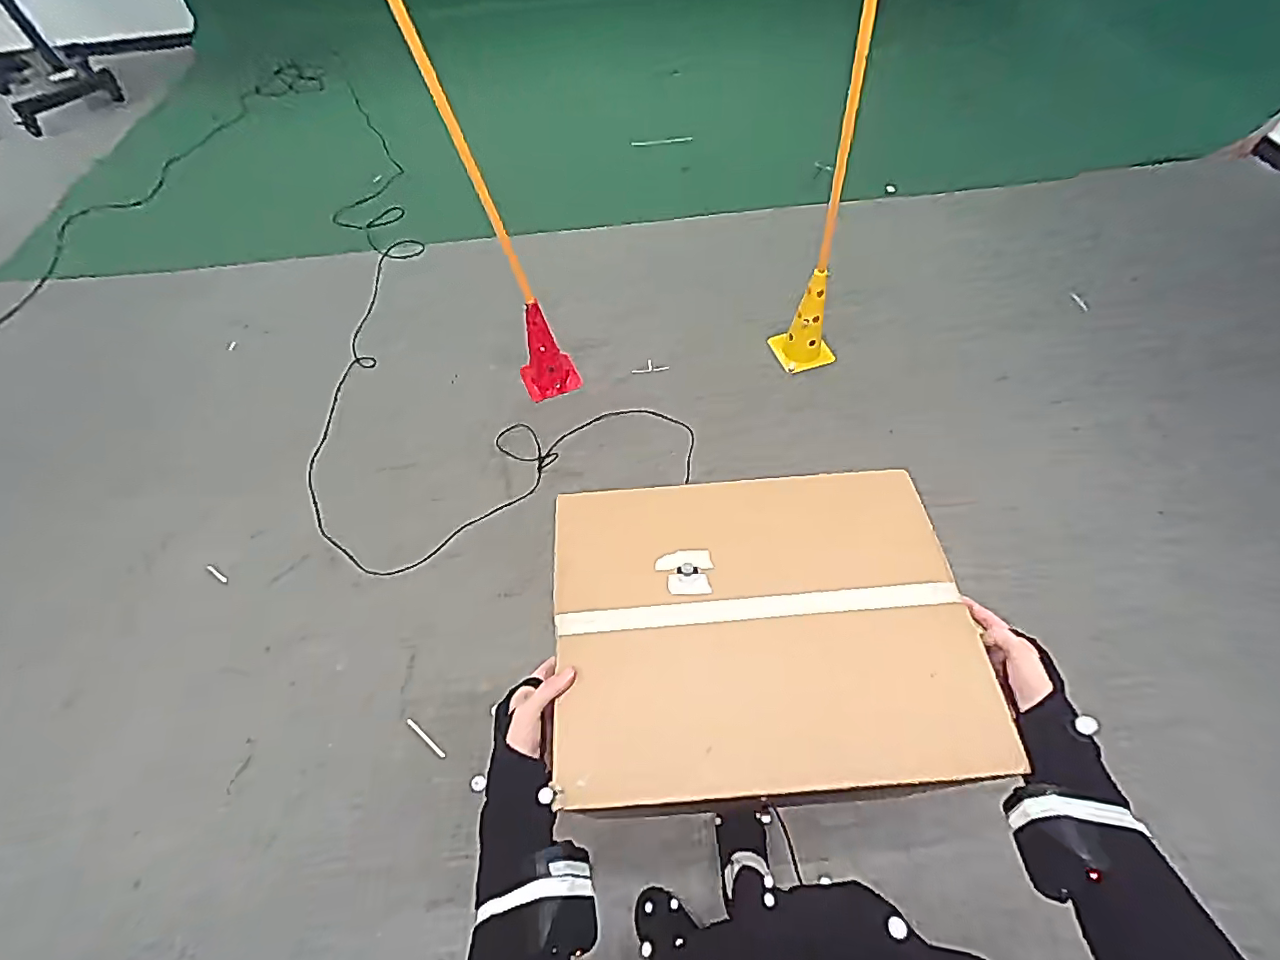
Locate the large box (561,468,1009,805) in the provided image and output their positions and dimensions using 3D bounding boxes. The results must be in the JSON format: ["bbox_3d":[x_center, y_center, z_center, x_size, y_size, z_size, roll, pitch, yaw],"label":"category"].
[{"bbox_3d":[0.127,0.211,0.678,0.408,0.320,0.320,-5,56,1],"label":"large box"}]
